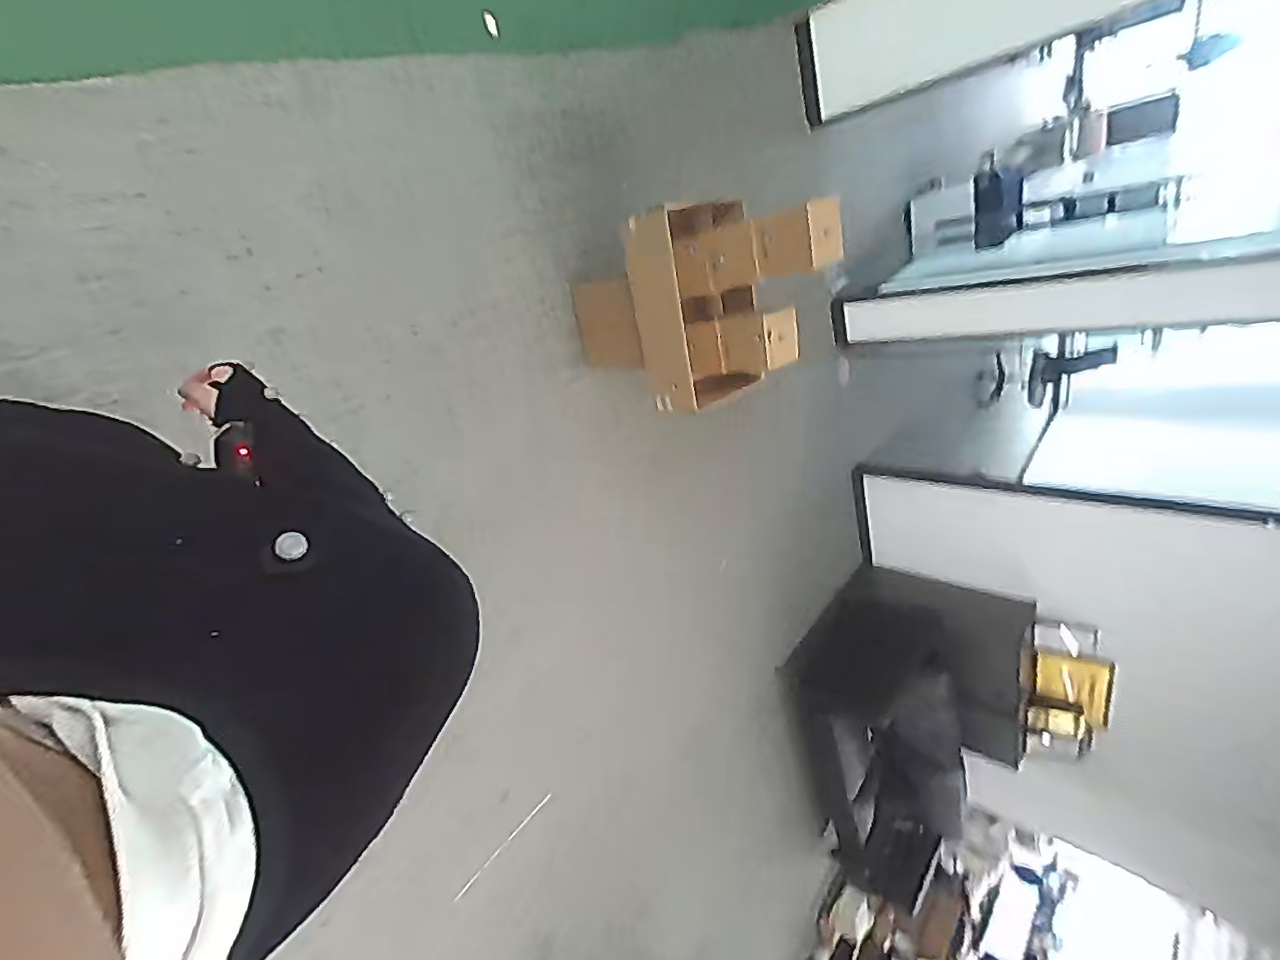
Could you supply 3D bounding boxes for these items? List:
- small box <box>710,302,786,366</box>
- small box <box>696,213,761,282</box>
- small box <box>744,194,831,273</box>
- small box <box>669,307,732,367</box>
[{"bbox_3d":[0.344,-0.467,1.724,0.179,0.176,0.168,-28,117,-38],"label":"small box"},{"bbox_3d":[0.292,-0.701,1.616,0.179,0.176,0.168,-34,121,-36],"label":"small box"},{"bbox_3d":[0.413,-0.686,1.507,0.179,0.176,0.168,-32,120,-37],"label":"small box"},{"bbox_3d":[0.223,-0.487,1.833,0.179,0.176,0.168,-30,119,-37],"label":"small box"}]
